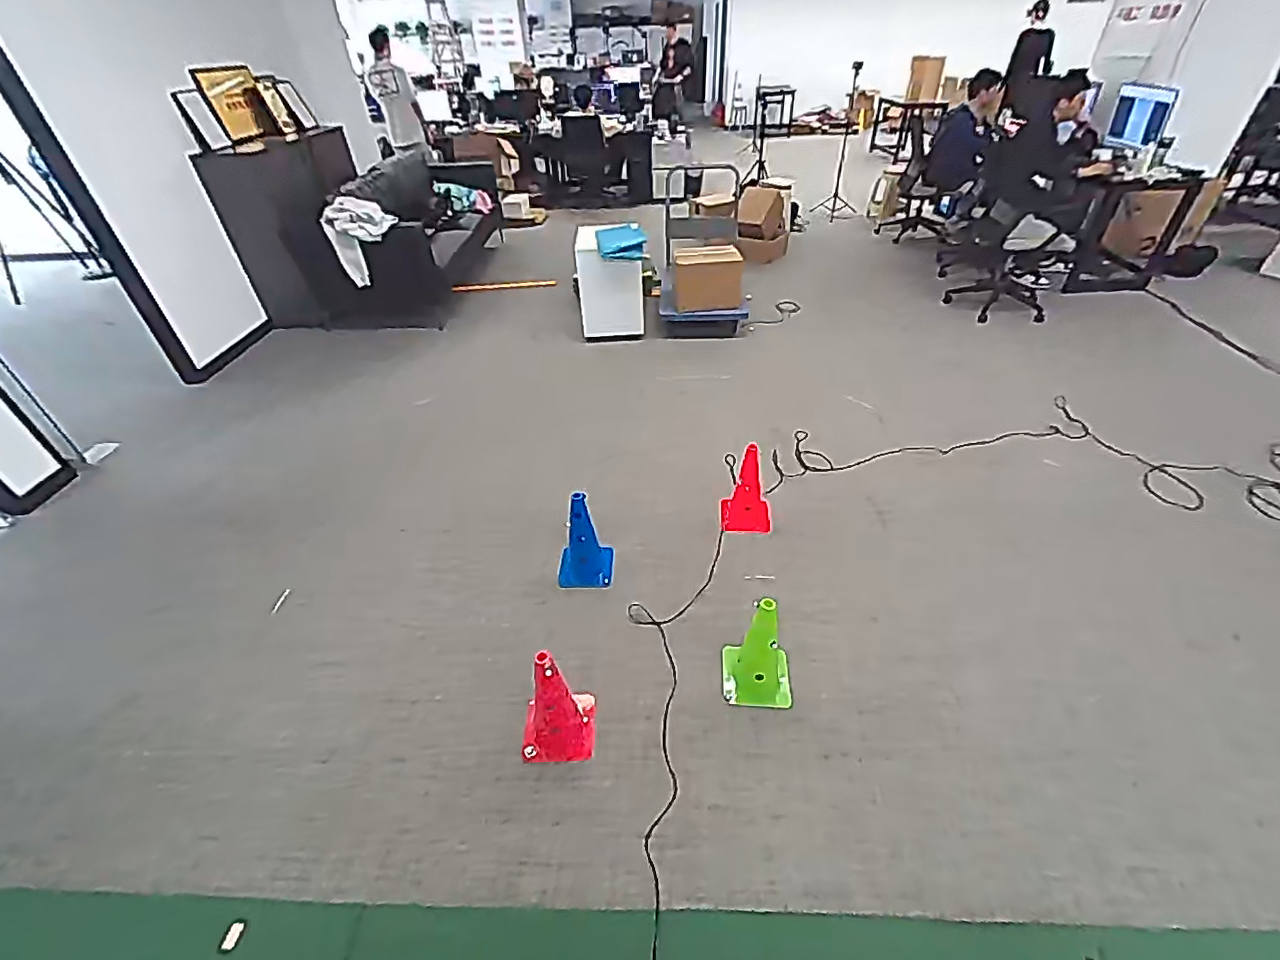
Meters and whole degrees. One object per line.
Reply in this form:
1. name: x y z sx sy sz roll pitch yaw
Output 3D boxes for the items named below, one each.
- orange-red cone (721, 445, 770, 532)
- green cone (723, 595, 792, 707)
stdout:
1. orange-red cone: 0.426 0.016 2.136 0.198 0.360 0.199 2 40 7
2. green cone: 0.355 0.470 1.567 0.200 0.368 0.202 1 38 5
